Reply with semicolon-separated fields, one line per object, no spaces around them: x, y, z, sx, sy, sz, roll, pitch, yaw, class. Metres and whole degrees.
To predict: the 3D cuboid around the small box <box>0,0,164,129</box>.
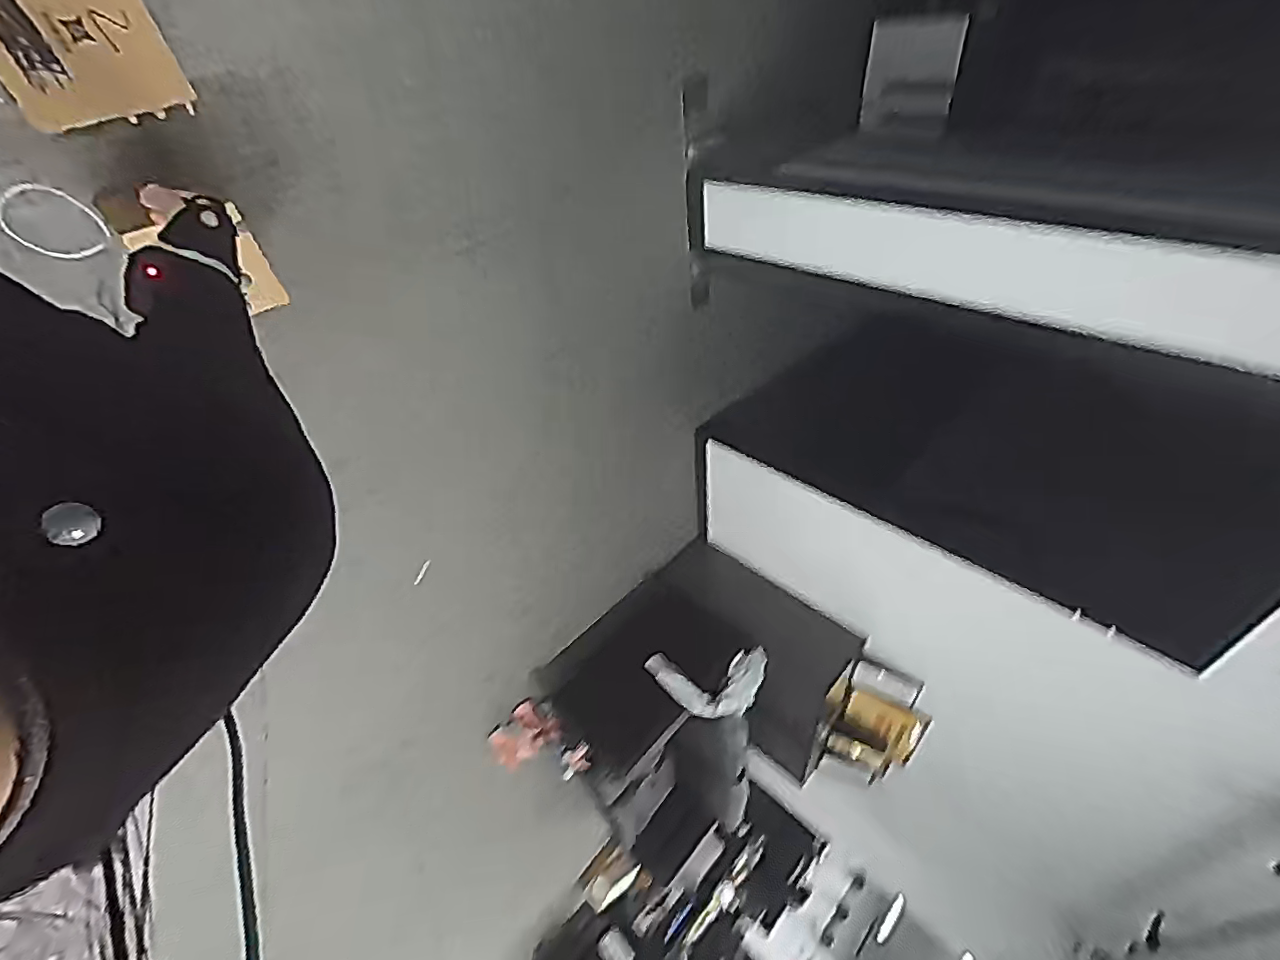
-0.819;-0.608;0.745;0.168;0.176;0.179;-39;139;-27;small box
